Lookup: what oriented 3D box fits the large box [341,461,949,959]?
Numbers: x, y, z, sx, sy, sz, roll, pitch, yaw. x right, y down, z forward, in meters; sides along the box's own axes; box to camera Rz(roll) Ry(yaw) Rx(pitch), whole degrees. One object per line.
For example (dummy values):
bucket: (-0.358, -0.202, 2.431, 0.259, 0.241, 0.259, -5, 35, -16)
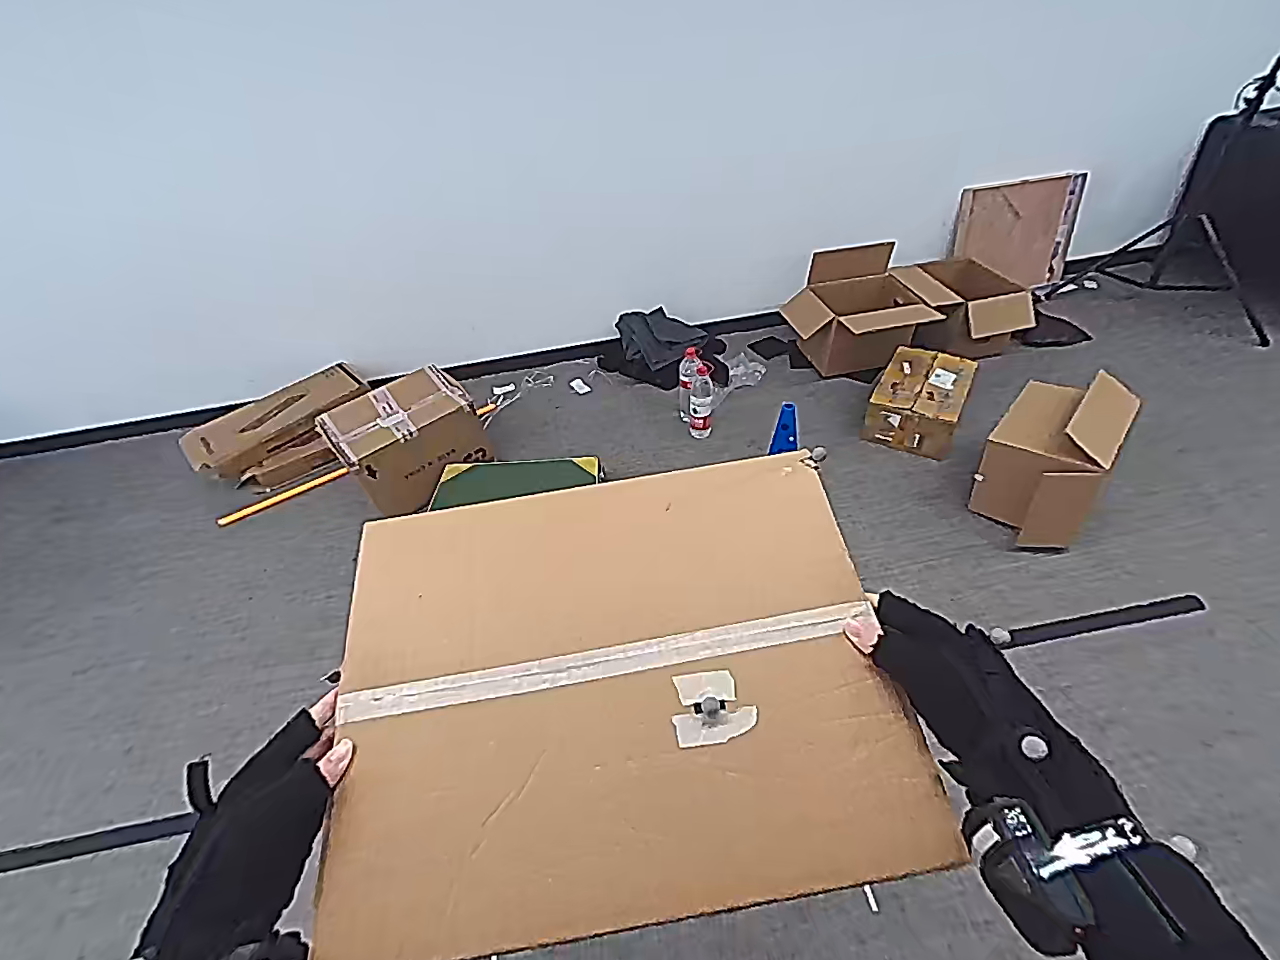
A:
large box: (-0.010, 0.222, 0.545, 0.408, 0.320, 0.320, -10, 58, -2)
